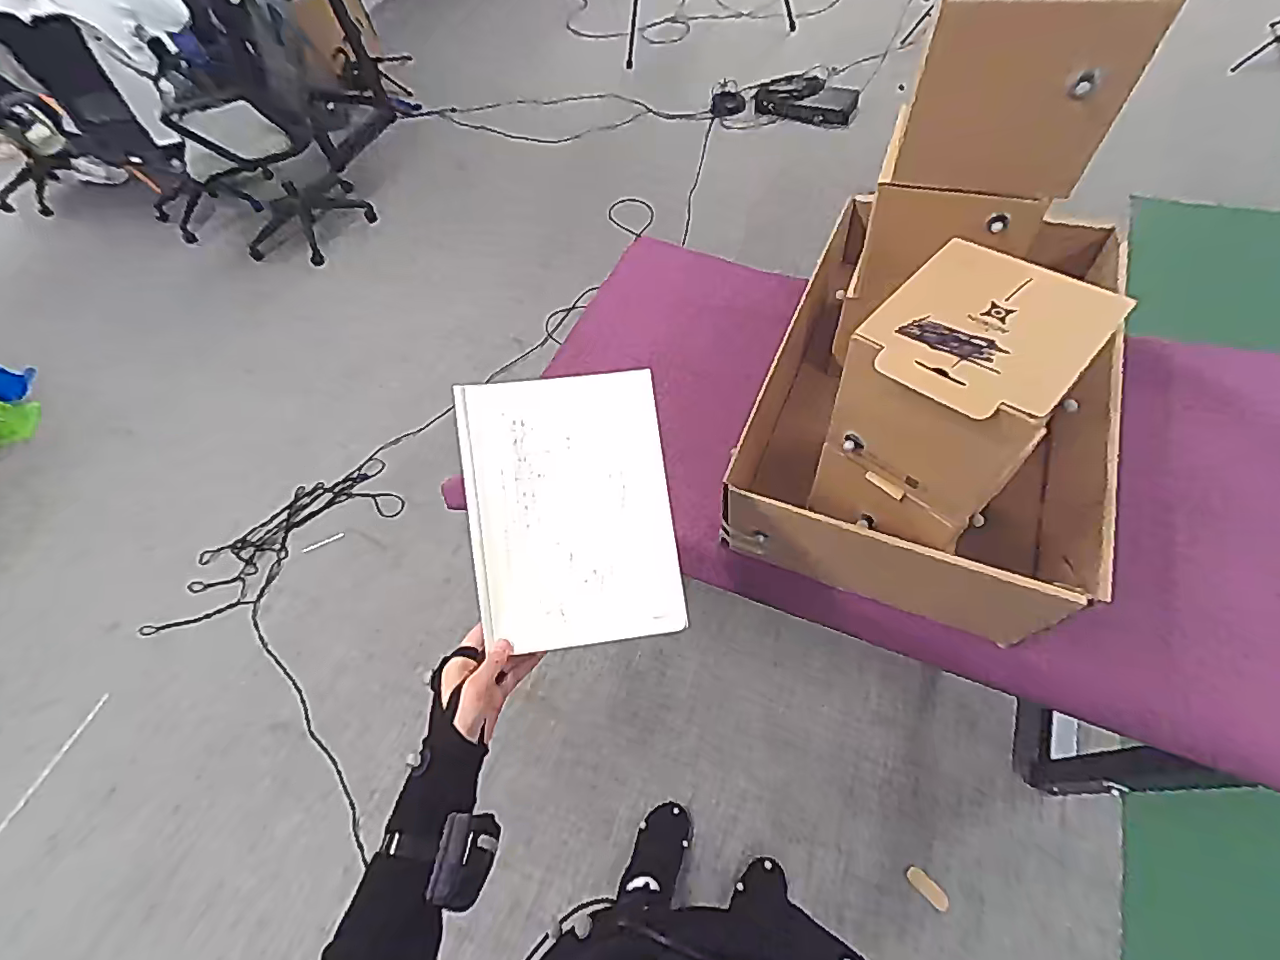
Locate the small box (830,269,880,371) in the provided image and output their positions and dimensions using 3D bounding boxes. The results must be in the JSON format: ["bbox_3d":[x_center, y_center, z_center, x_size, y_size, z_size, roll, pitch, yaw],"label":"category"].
[{"bbox_3d":[0.399,-0.260,0.824,0.168,0.176,0.179,18,65,19],"label":"small box"}]

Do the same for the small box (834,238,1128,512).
[{"bbox_3d":[0.315,-0.100,0.541,0.179,0.176,0.168,-42,60,-18],"label":"small box"}]

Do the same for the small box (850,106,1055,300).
[{"bbox_3d":[0.380,-0.336,0.682,0.179,0.176,0.168,16,64,17],"label":"small box"}]
